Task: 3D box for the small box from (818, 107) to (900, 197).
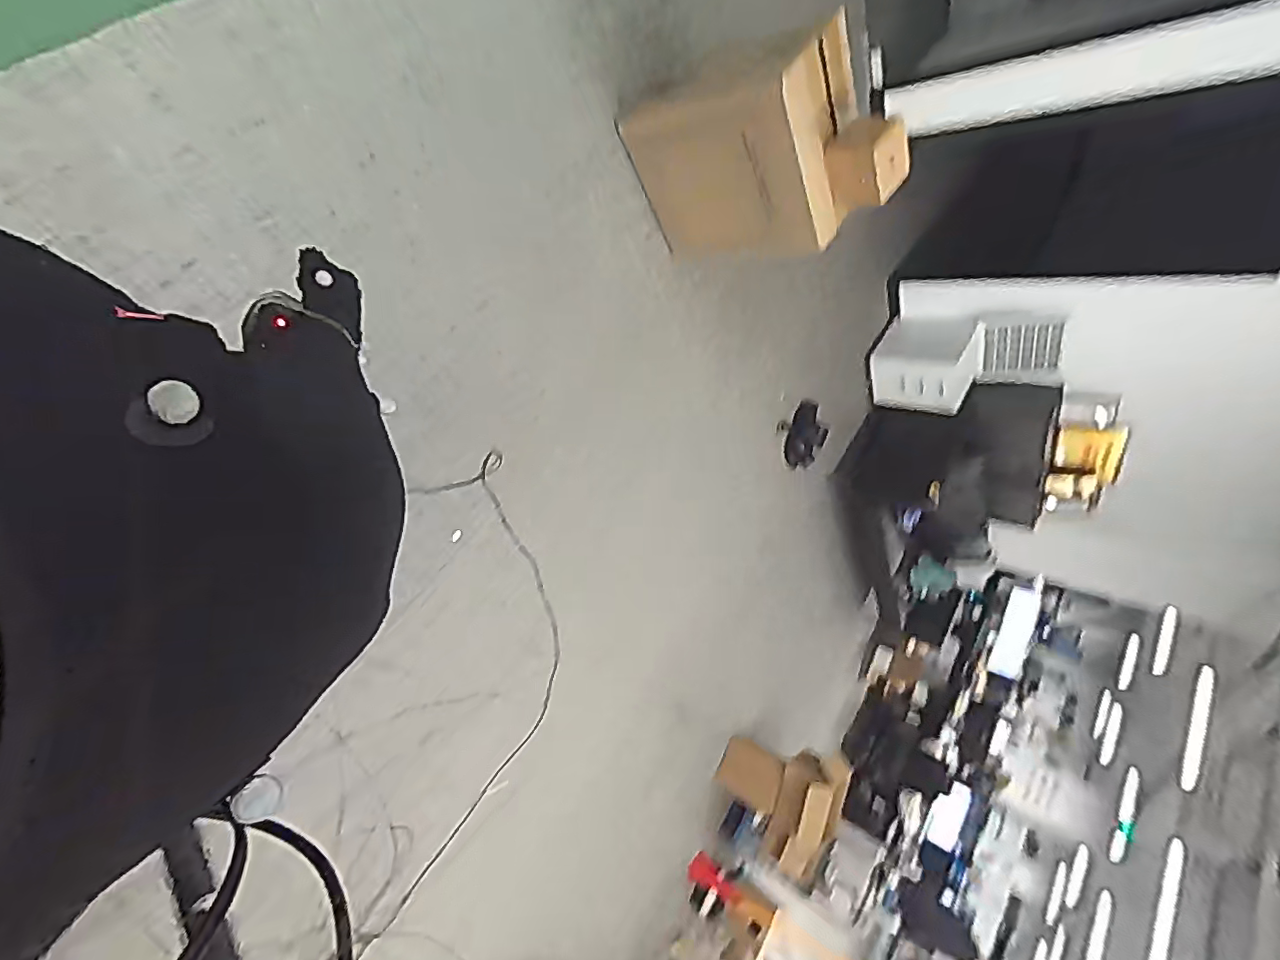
[{"bbox_3d":[0.668,-0.997,1.657,0.168,0.176,0.179,-51,138,-10],"label":"small box"}]
